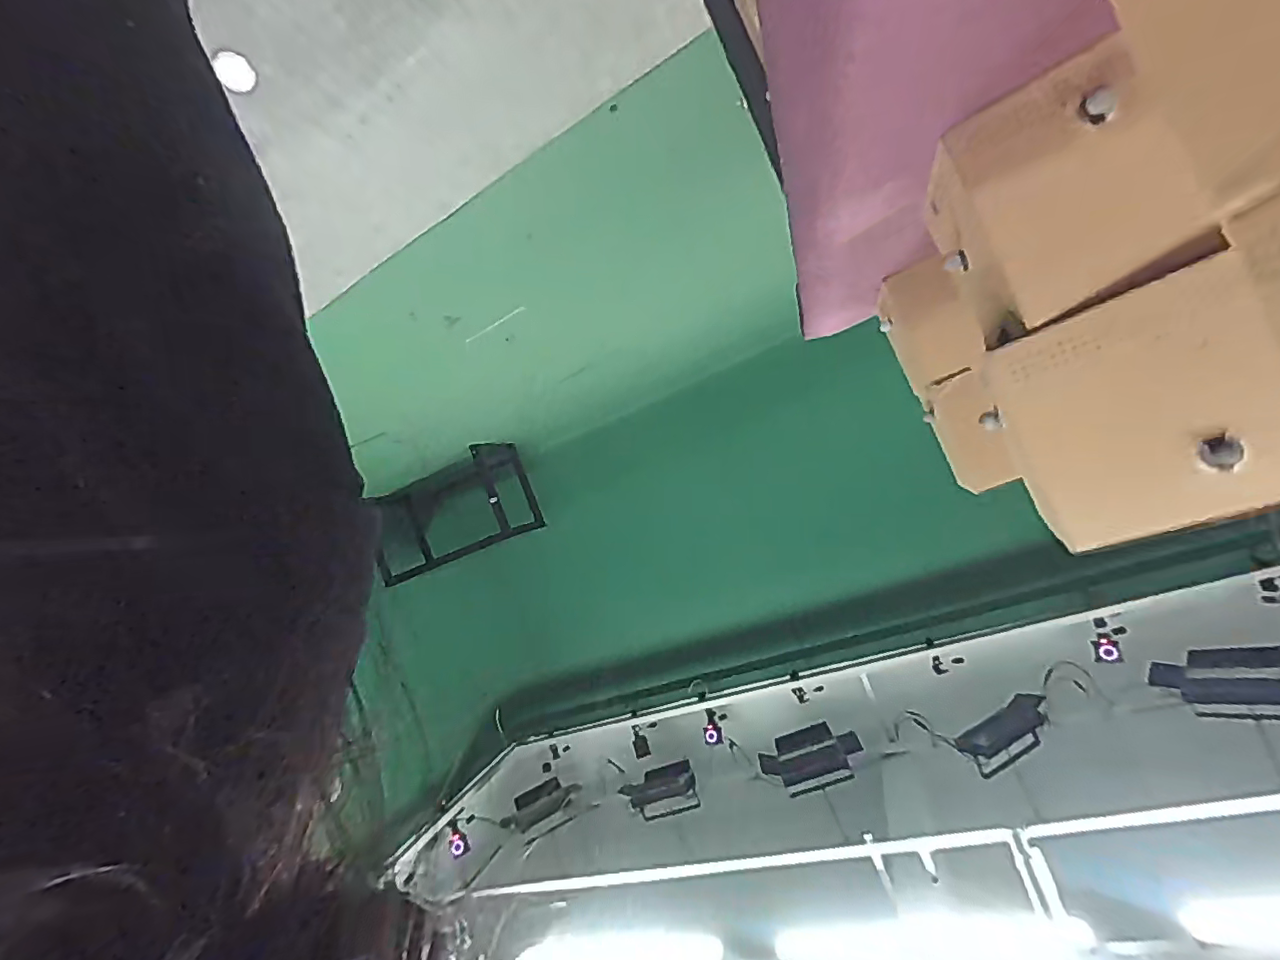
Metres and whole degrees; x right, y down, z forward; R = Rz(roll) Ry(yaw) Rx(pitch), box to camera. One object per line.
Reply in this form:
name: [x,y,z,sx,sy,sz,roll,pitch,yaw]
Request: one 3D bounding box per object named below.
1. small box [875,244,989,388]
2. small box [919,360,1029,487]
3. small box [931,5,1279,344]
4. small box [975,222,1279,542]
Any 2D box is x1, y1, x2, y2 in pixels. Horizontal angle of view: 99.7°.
small box: [0.477,-0.255,0.804,0.179,0.176,0.168,-23,176,19]
small box: [0.538,-0.105,0.788,0.179,0.176,0.168,-24,175,22]
small box: [0.363,-0.233,0.440,0.179,0.176,0.168,-24,177,24]
small box: [0.403,-0.071,0.432,0.179,0.176,0.168,-24,175,30]
